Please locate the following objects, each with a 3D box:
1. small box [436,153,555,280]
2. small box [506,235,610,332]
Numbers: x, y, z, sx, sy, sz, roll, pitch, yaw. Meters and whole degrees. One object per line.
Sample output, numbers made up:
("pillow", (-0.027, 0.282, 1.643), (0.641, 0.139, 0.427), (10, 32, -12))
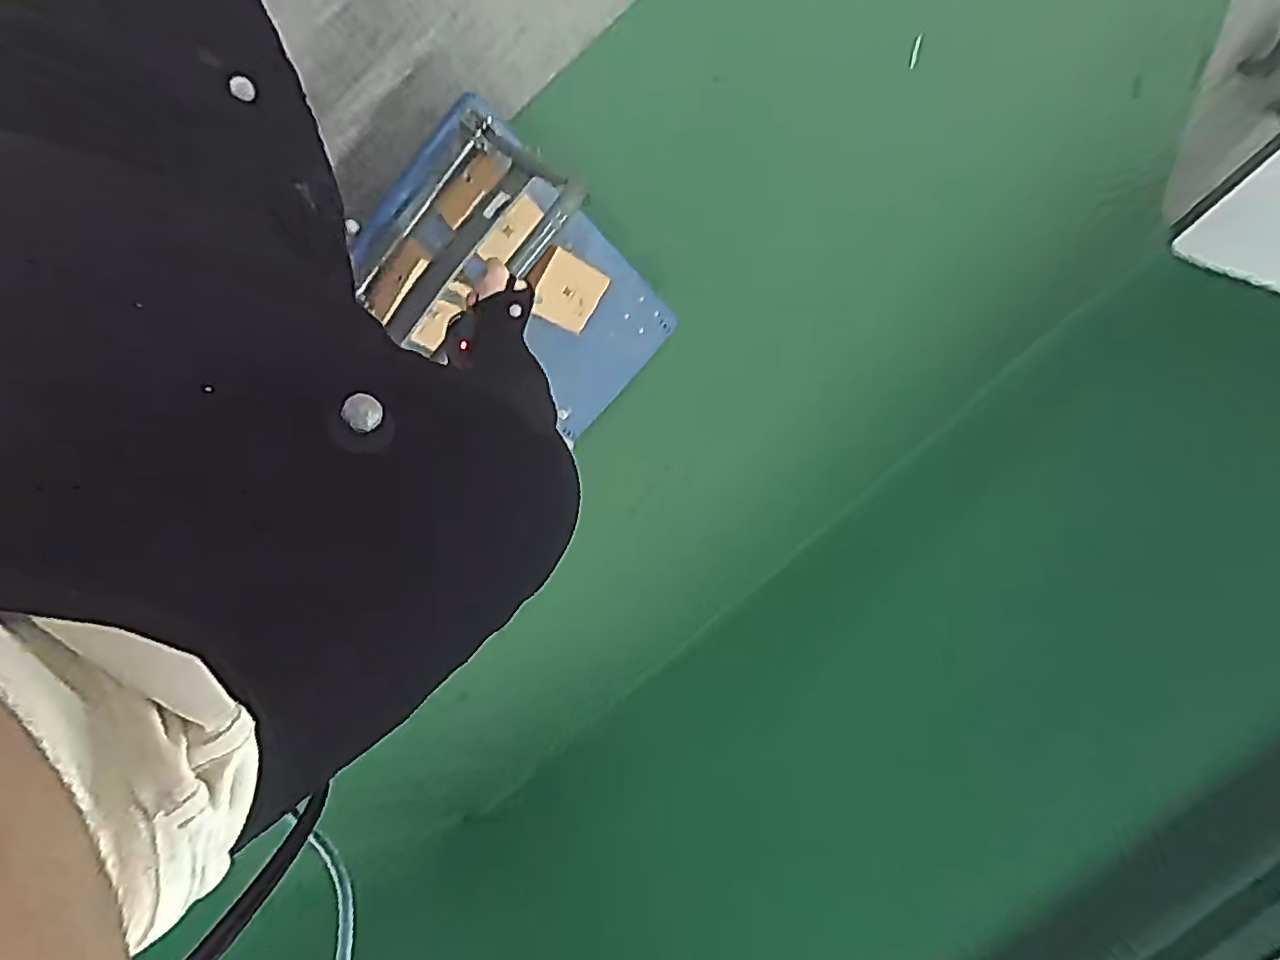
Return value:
("small box", (-0.330, -0.601, 1.228), (0.168, 0.176, 0.179), (-43, 140, 7))
("small box", (-0.217, -0.517, 1.391), (0.179, 0.176, 0.168), (16, 118, -45))
